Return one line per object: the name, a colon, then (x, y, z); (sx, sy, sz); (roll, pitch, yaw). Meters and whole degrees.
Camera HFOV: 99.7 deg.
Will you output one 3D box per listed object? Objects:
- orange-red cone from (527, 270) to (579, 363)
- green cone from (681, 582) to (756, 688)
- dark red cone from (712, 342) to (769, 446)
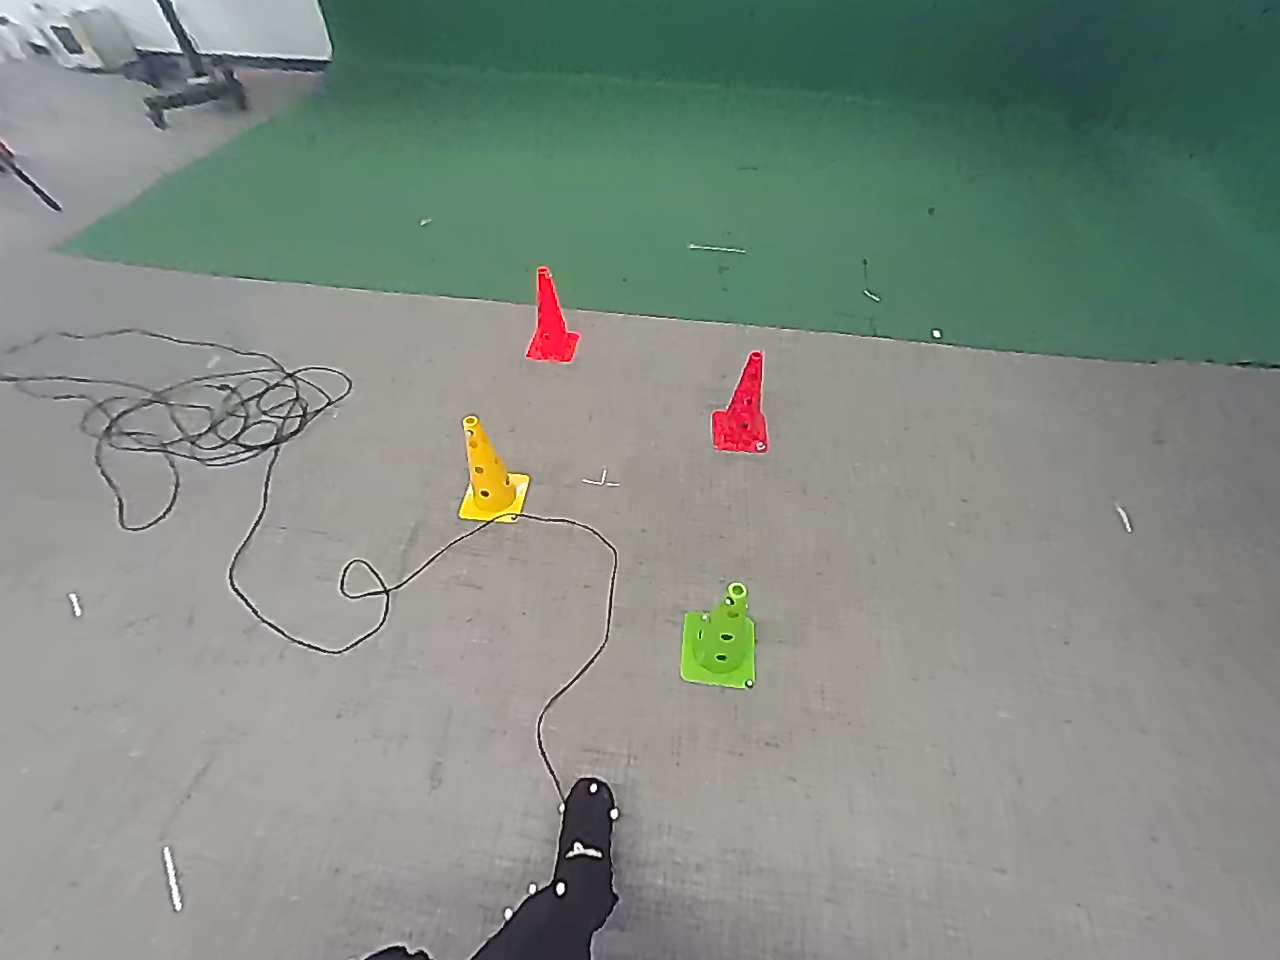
orange-red cone: (-0.373, -0.677, 2.194); (0.198, 0.360, 0.199); (6, 52, 6)
green cone: (0.217, 0.359, 1.362); (0.202, 0.368, 0.200); (5, 51, 5)
dark red cone: (0.370, -0.302, 1.869); (0.202, 0.394, 0.201); (2, 50, 1)
